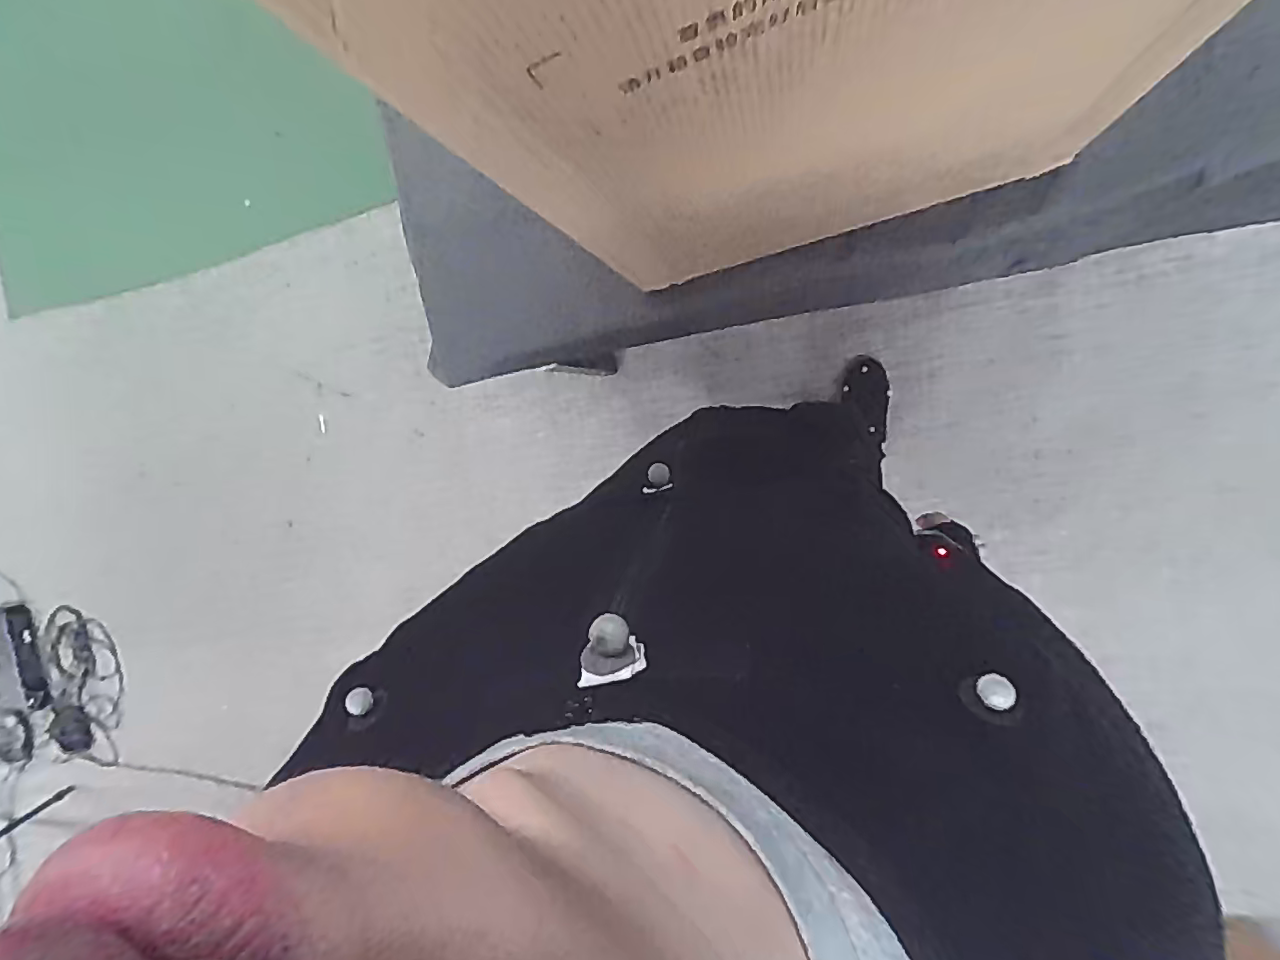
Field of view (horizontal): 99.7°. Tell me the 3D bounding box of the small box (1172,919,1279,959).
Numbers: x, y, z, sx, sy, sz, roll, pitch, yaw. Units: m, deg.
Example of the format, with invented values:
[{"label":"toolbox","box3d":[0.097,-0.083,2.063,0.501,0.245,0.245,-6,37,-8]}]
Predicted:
[{"label":"small box","box3d":[1.448,1.201,1.299,0.168,0.176,0.179,-22,93,19]}]
